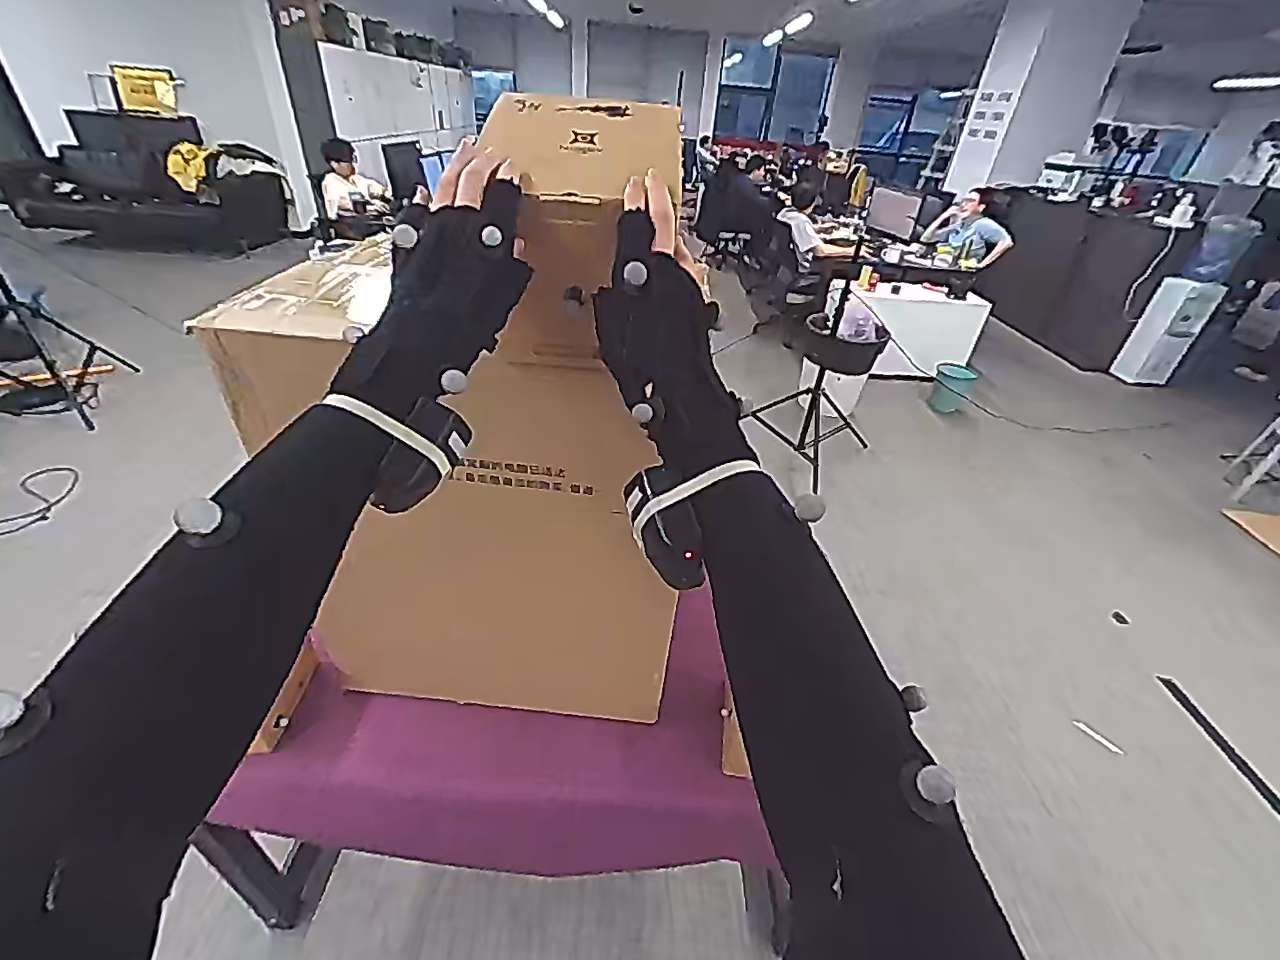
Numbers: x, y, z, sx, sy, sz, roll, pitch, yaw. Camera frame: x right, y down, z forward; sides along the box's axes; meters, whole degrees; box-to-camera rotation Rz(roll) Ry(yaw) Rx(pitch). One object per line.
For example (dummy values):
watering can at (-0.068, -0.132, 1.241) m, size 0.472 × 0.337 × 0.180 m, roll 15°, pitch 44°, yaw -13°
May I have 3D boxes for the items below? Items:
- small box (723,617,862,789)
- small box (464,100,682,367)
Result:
small box at (0.226, 0.347, 0.845) m, size 0.168 × 0.176 × 0.179 m, roll 9°, pitch 33°, yaw 4°
small box at (-0.050, -0.227, 0.514) m, size 0.168 × 0.176 × 0.179 m, roll 3°, pitch 54°, yaw -1°
